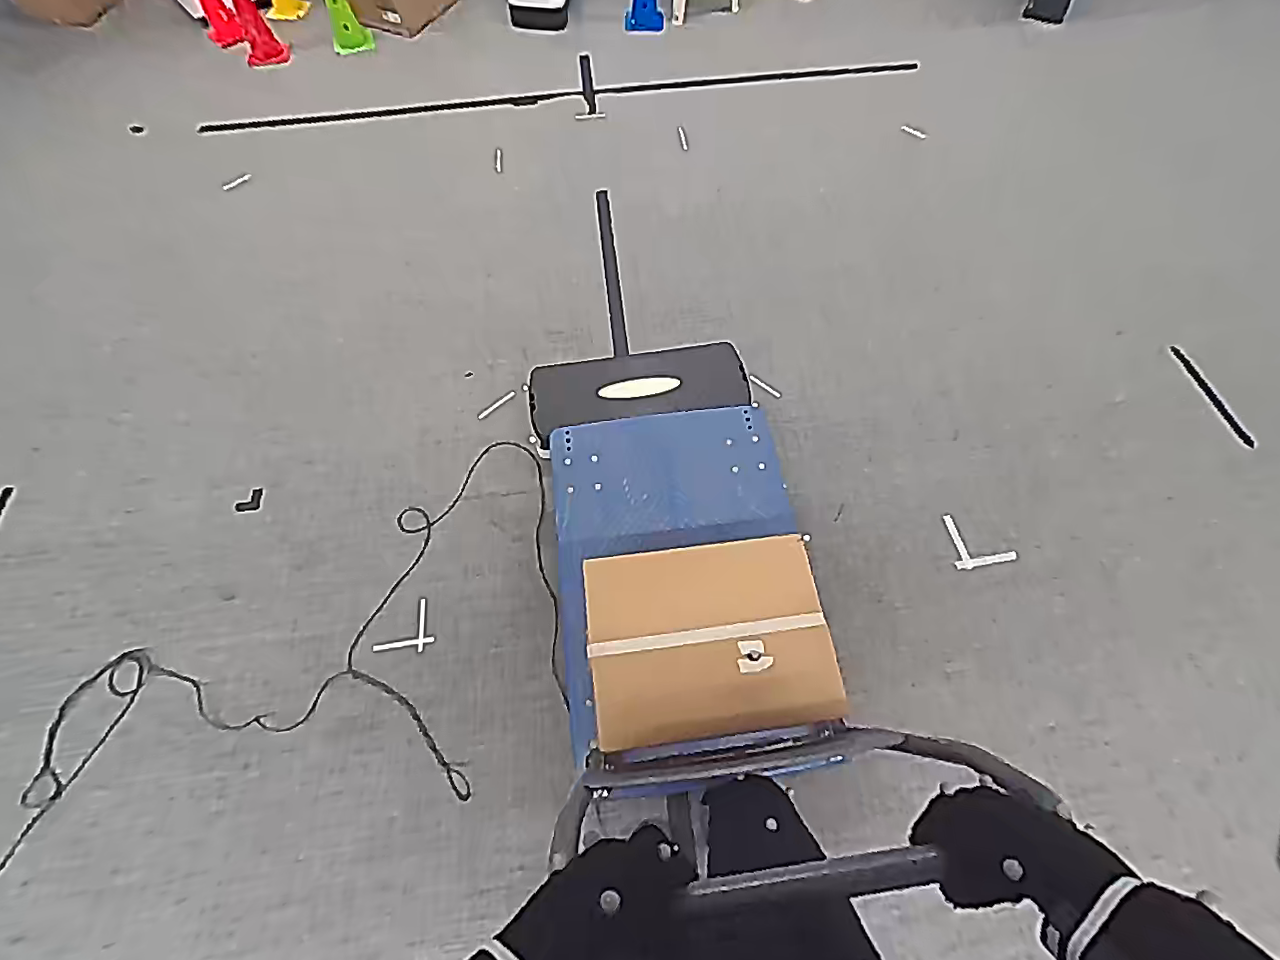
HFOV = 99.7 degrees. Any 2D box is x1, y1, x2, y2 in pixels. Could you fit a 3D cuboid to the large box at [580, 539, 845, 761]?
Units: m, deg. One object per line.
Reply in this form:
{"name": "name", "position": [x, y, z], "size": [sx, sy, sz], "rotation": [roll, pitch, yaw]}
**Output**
{"name": "large box", "position": [0.108, 0.335, 1.042], "size": [0.408, 0.320, 0.320], "rotation": [-7, 65, -4]}
